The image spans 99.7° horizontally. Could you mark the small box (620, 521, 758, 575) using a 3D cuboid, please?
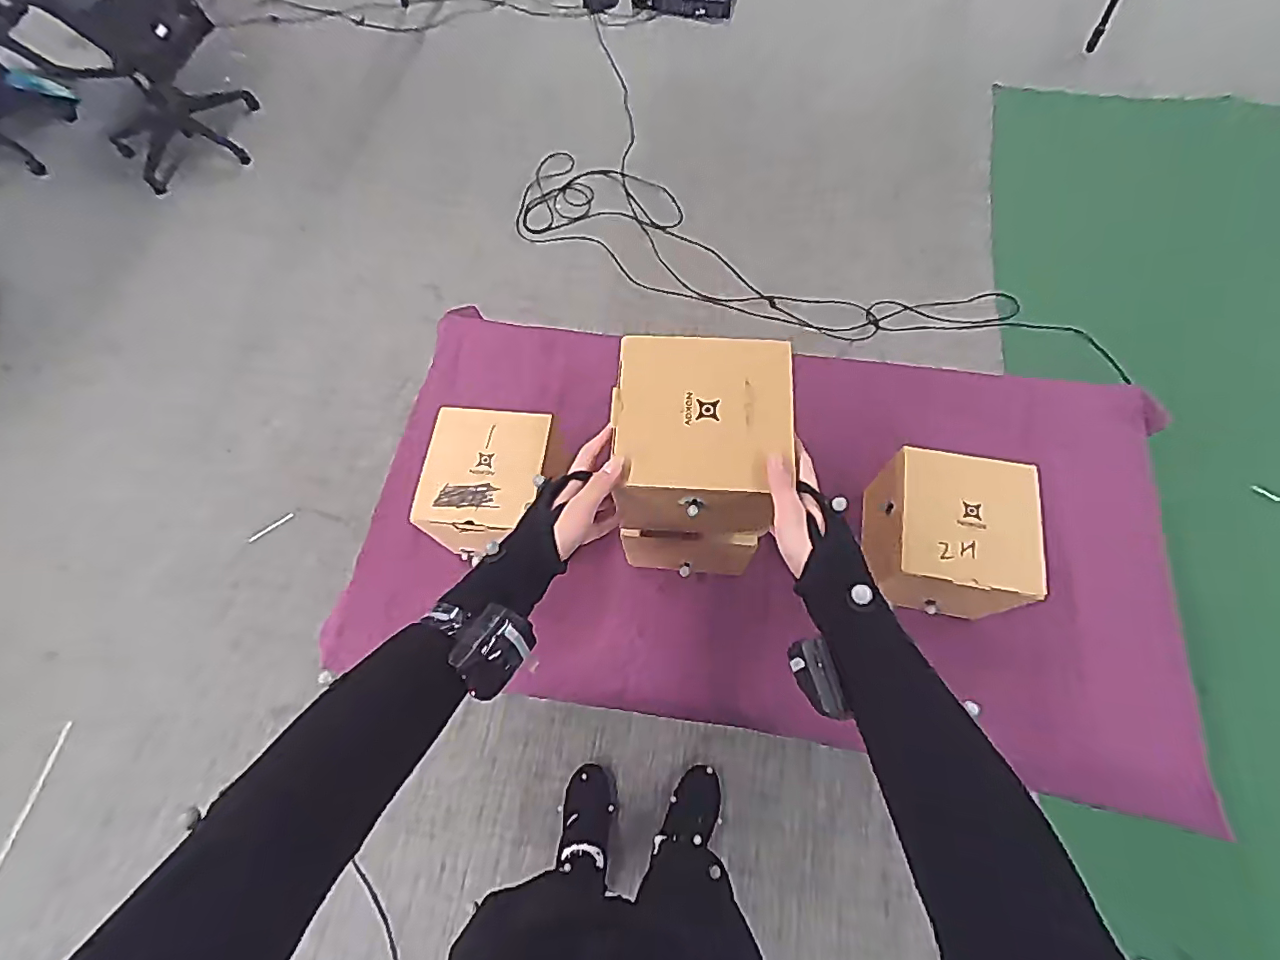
[{"bbox_3d":[0.073,0.036,0.784,0.179,0.176,0.168,5,67,5],"label":"small box"}]

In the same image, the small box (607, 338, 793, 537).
[{"bbox_3d":[0.065,-0.038,0.603,0.179,0.176,0.168,3,70,3],"label":"small box"}]

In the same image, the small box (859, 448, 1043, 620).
[{"bbox_3d":[0.413,0.080,0.745,0.168,0.176,0.179,10,68,8],"label":"small box"}]

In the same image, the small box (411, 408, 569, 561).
[{"bbox_3d":[-0.208,0.014,0.809,0.168,0.176,0.179,5,67,5],"label":"small box"}]
